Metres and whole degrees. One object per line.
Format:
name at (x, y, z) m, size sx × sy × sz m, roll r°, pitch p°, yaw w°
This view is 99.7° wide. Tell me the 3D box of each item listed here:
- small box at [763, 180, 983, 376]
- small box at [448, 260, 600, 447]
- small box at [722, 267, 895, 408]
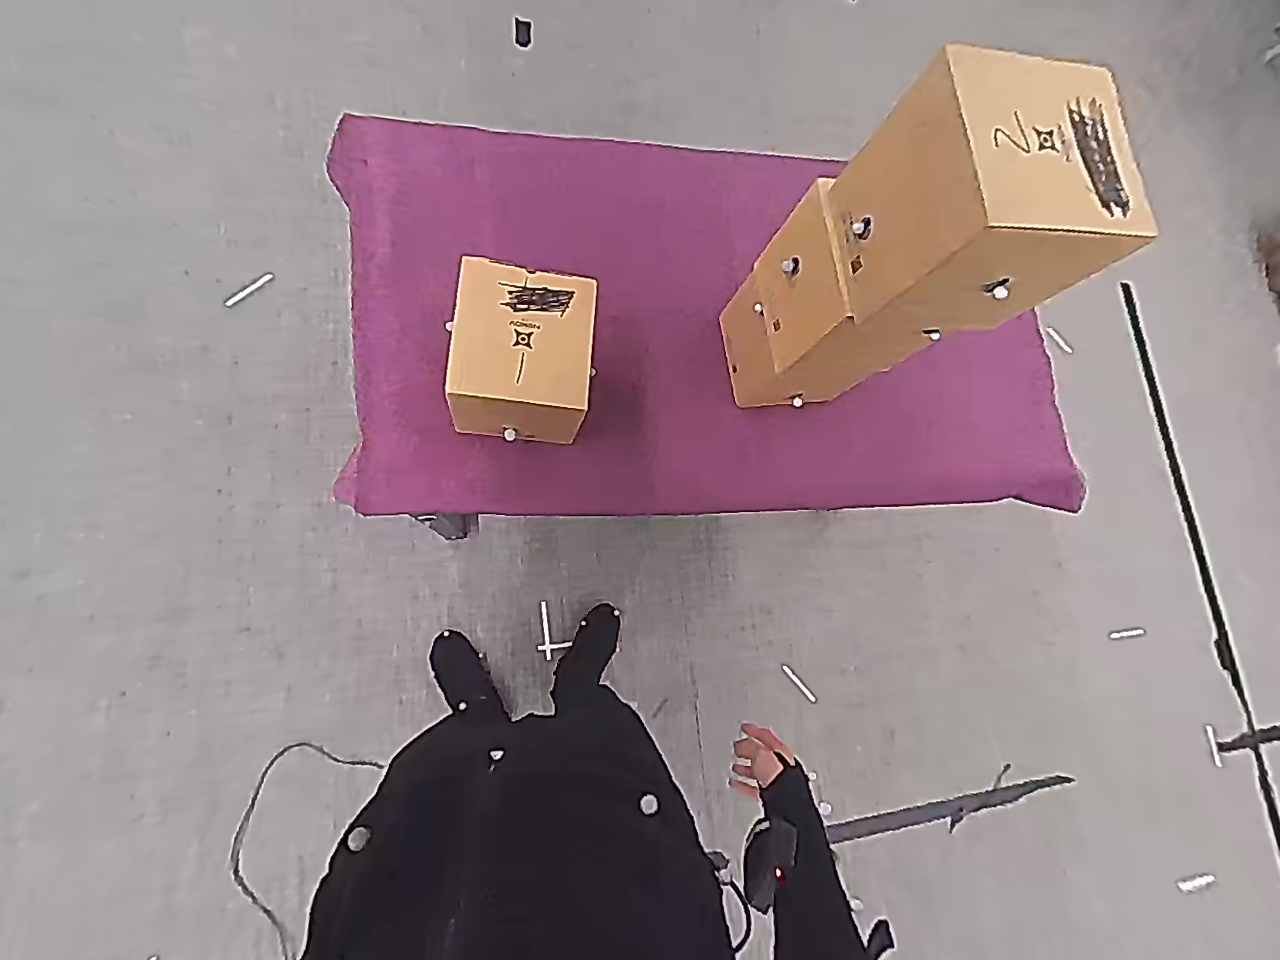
small box at (0.267, -0.236, 0.666) m, size 0.179 × 0.176 × 0.168 m, roll -6°, pitch 80°, yaw -15°
small box at (-0.153, -0.156, 0.721) m, size 0.168 × 0.176 × 0.179 m, roll 6°, pitch 78°, yaw -12°
small box at (0.247, -0.217, 0.828) m, size 0.179 × 0.176 × 0.168 m, roll -6°, pitch 79°, yaw -15°
